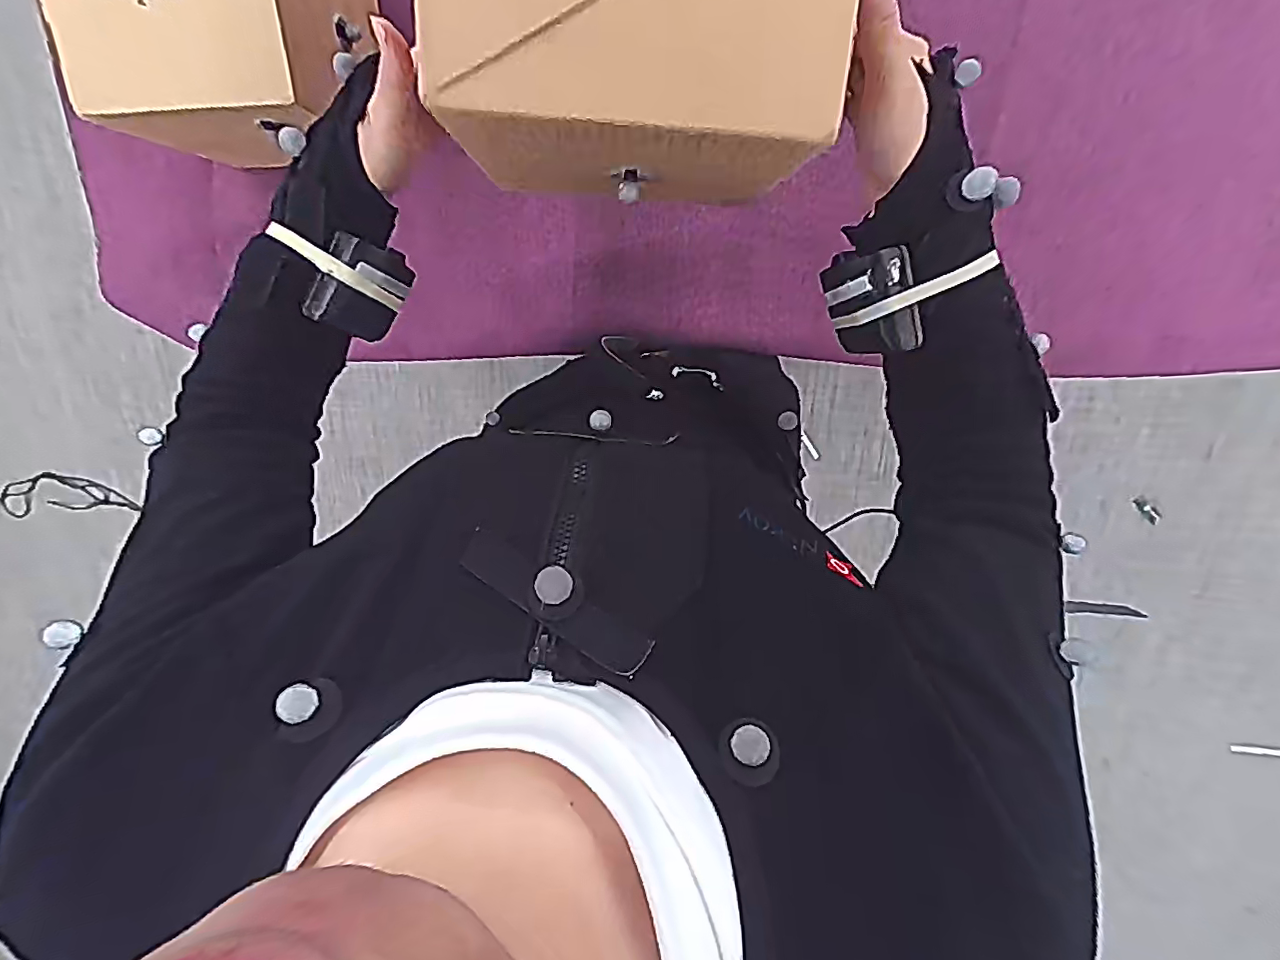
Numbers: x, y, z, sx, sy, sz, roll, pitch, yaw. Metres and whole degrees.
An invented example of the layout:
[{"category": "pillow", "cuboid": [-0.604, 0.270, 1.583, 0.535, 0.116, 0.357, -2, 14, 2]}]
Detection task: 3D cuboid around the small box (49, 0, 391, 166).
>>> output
[{"category": "small box", "cuboid": [-0.332, -0.377, 0.454, 0.179, 0.176, 0.168, 0, 107, 3]}]
